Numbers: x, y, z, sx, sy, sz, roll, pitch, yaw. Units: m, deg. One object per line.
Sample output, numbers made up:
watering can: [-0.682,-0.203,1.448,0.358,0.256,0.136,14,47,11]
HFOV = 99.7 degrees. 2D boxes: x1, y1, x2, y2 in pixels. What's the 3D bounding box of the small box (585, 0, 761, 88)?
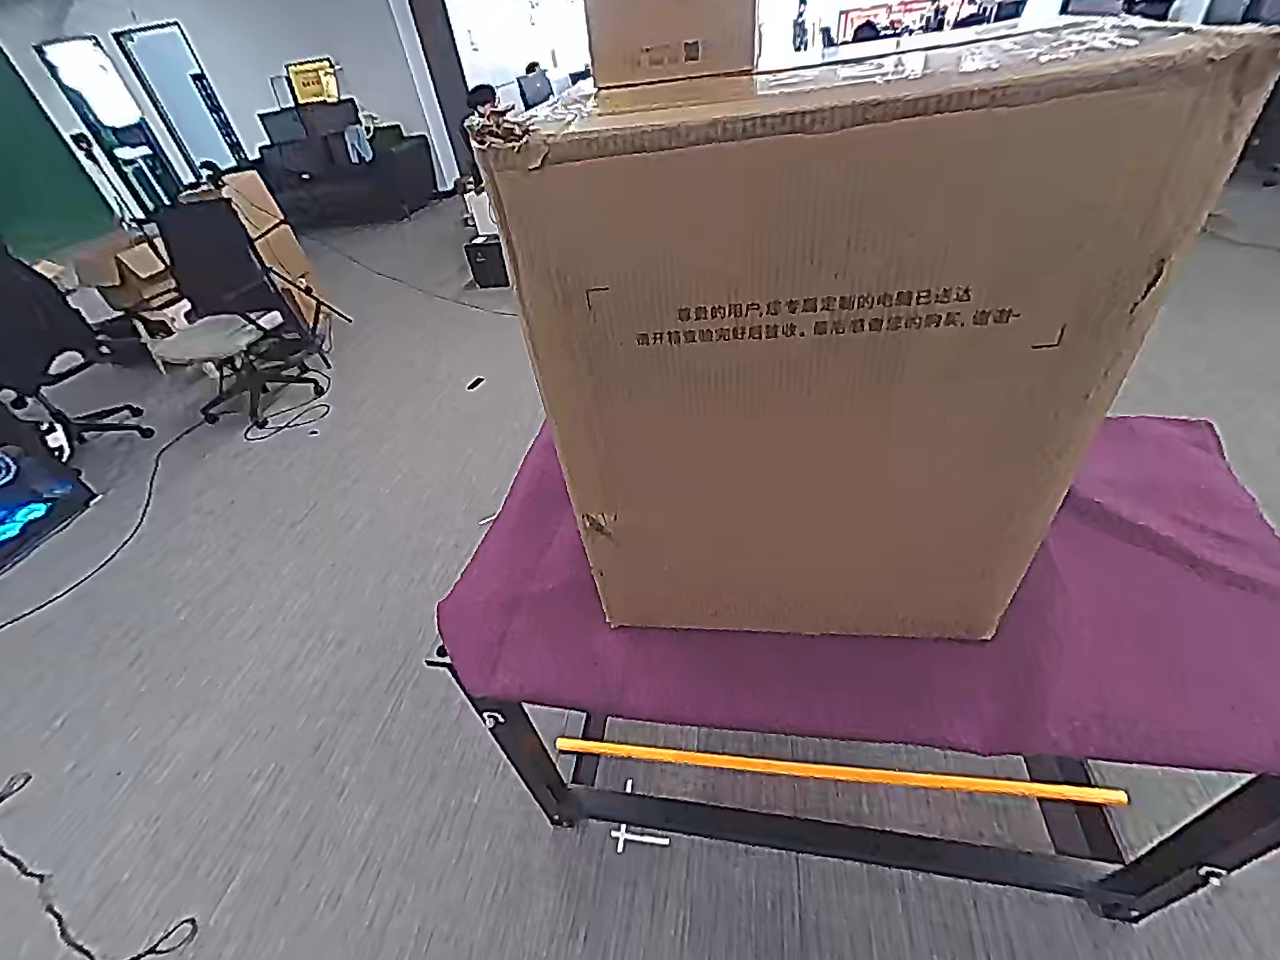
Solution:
small box: [0.039,-0.517,0.556,0.168,0.176,0.179,3,41,12]
